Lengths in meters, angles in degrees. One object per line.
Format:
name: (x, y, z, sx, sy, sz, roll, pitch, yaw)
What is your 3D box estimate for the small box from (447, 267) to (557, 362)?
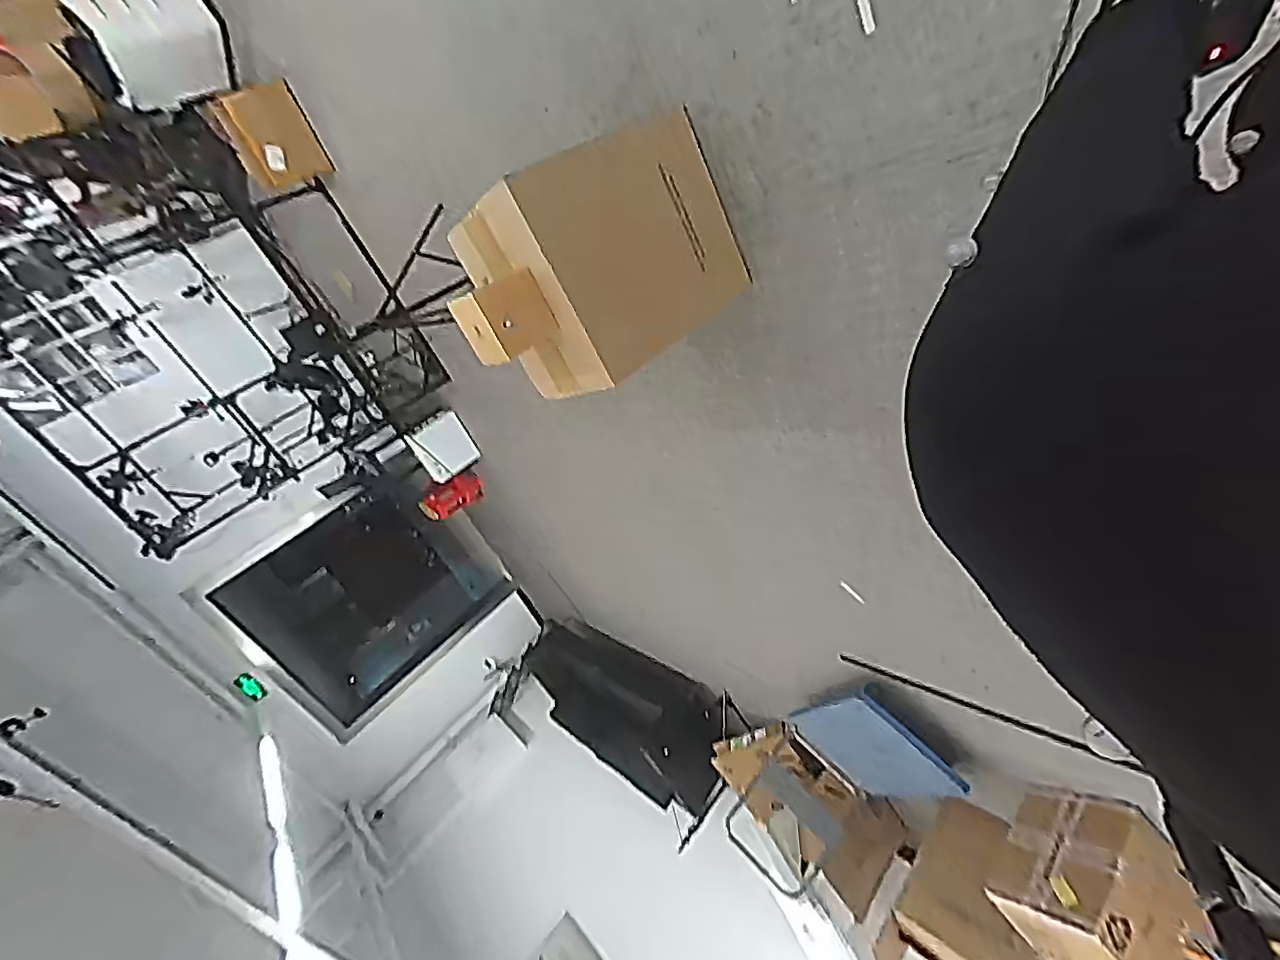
small box: (-0.343, -0.417, 1.358, 0.168, 0.176, 0.179, 9, 135, 50)
